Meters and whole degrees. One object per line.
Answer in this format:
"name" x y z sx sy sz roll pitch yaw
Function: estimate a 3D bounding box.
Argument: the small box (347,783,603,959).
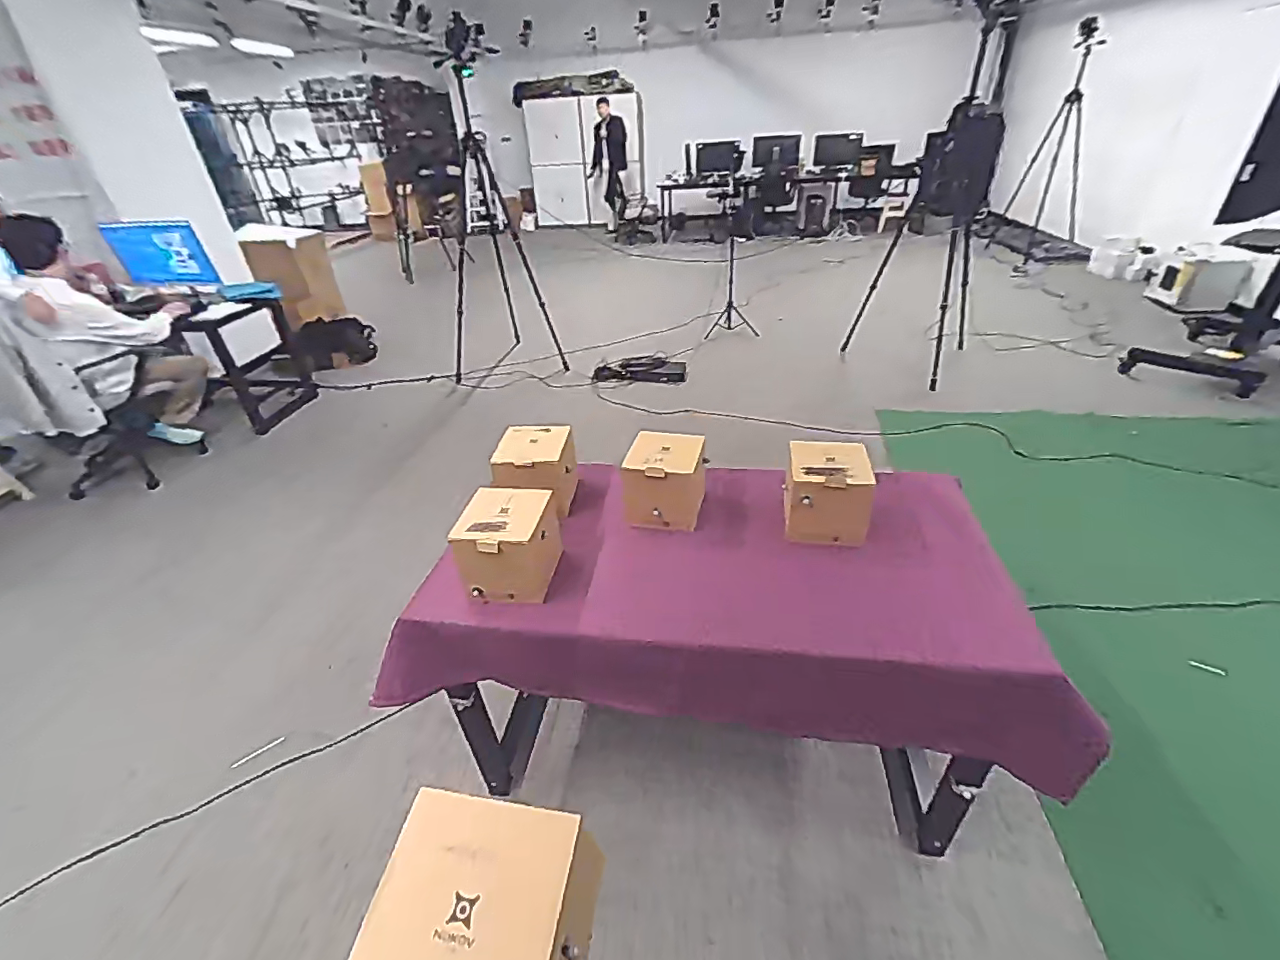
"small box" -0.139 0.417 0.507 0.168 0.176 0.179 4 45 12

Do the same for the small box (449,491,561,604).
"small box" -0.270 0.140 1.132 0.168 0.176 0.179 2 33 8

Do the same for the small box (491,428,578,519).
"small box" -0.256 -0.015 1.364 0.168 0.176 0.179 0 35 5

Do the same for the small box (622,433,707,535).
"small box" 0.064 0.006 1.298 0.168 0.176 0.179 6 35 15
